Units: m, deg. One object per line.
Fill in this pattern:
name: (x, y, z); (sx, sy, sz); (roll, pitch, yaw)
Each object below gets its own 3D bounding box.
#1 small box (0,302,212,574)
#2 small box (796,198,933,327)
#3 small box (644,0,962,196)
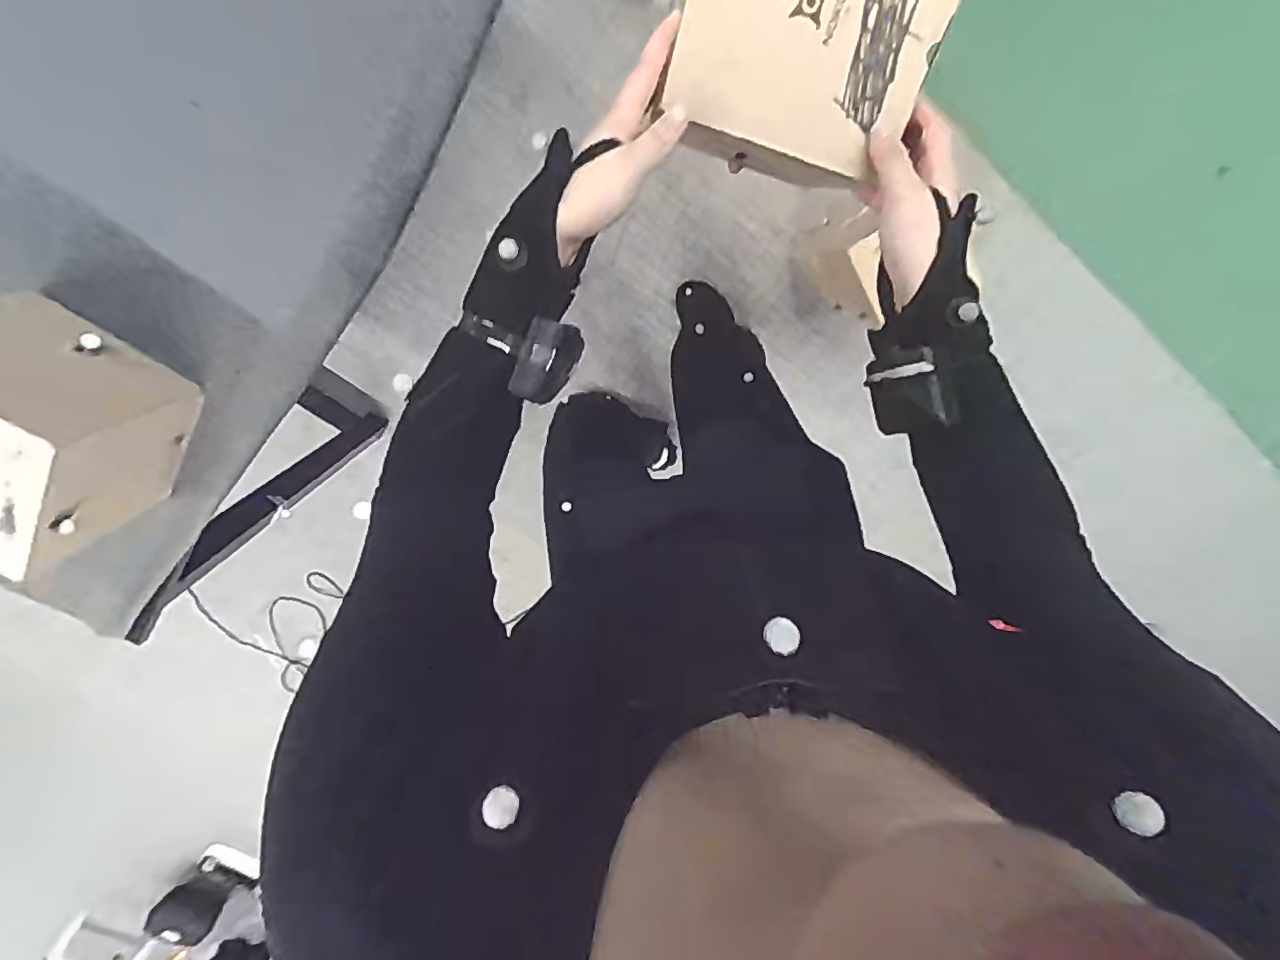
small box: (-0.575, -0.051, 0.516); (0.179, 0.176, 0.168); (34, 112, -13)
small box: (0.446, -0.444, 1.100); (0.168, 0.176, 0.179); (-40, 108, 19)
small box: (0.110, -0.335, 0.414); (0.179, 0.176, 0.168); (13, 116, -10)
